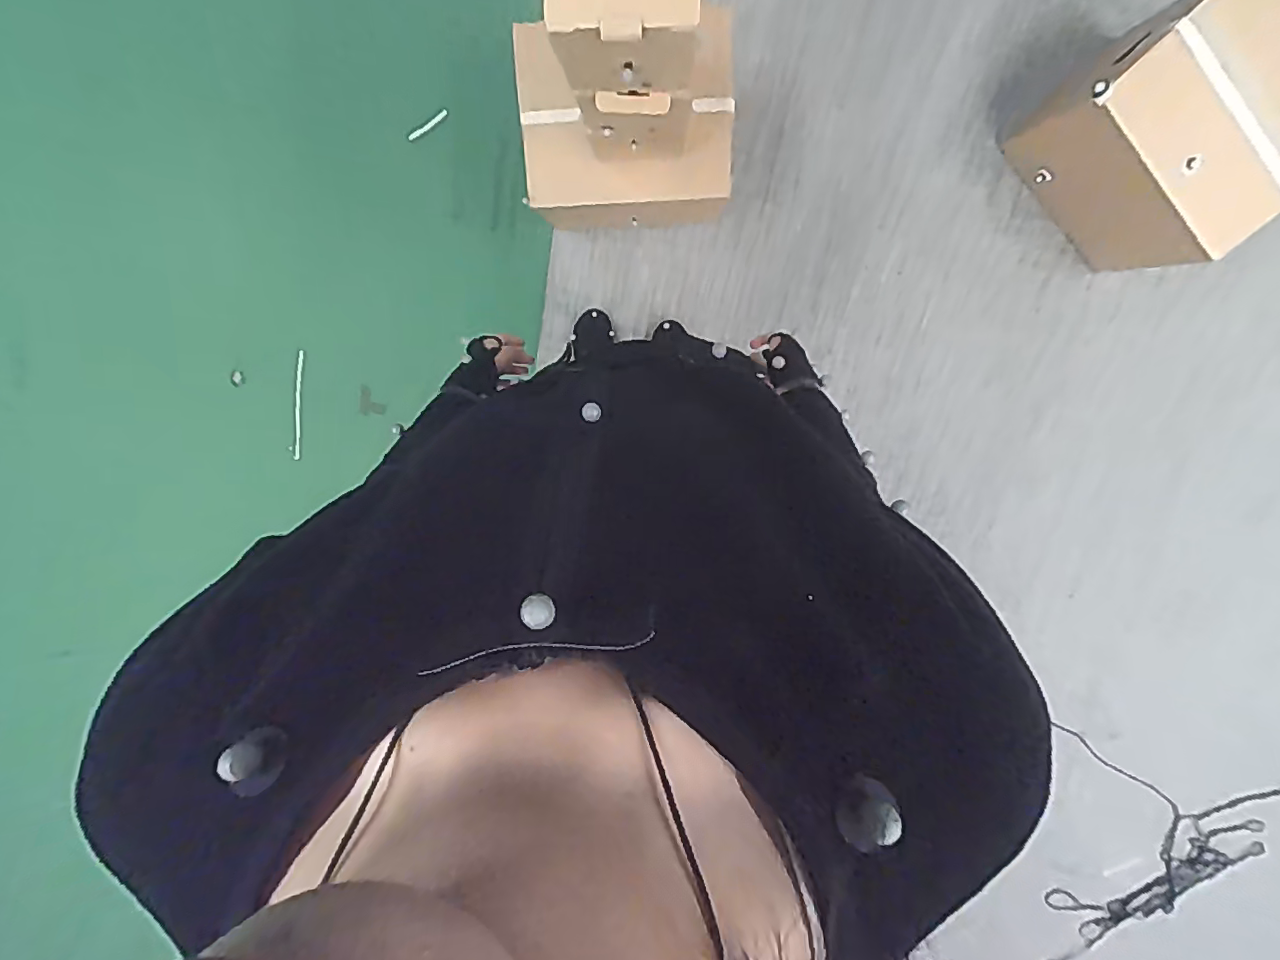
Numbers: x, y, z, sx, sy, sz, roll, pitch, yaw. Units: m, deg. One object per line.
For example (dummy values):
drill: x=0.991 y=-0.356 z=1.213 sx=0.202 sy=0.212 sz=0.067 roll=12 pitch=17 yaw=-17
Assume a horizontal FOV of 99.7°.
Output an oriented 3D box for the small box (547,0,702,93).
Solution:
small box: x=-0.010 y=-0.571 z=0.621 sx=0.168 sy=0.176 sz=0.179 roll=2 pitch=108 yaw=3

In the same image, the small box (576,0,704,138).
small box: x=0.004 y=-0.615 z=0.779 sx=0.168 sy=0.176 sz=0.179 roll=3 pitch=107 yaw=2

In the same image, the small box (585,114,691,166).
small box: x=0.003 y=-0.656 z=0.938 sx=0.179 sy=0.176 sz=0.168 roll=1 pitch=107 yaw=3

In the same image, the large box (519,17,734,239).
large box: x=-0.010 y=-0.722 z=1.175 sx=0.408 sy=0.320 sz=0.320 roll=-1 pitch=105 yaw=5
